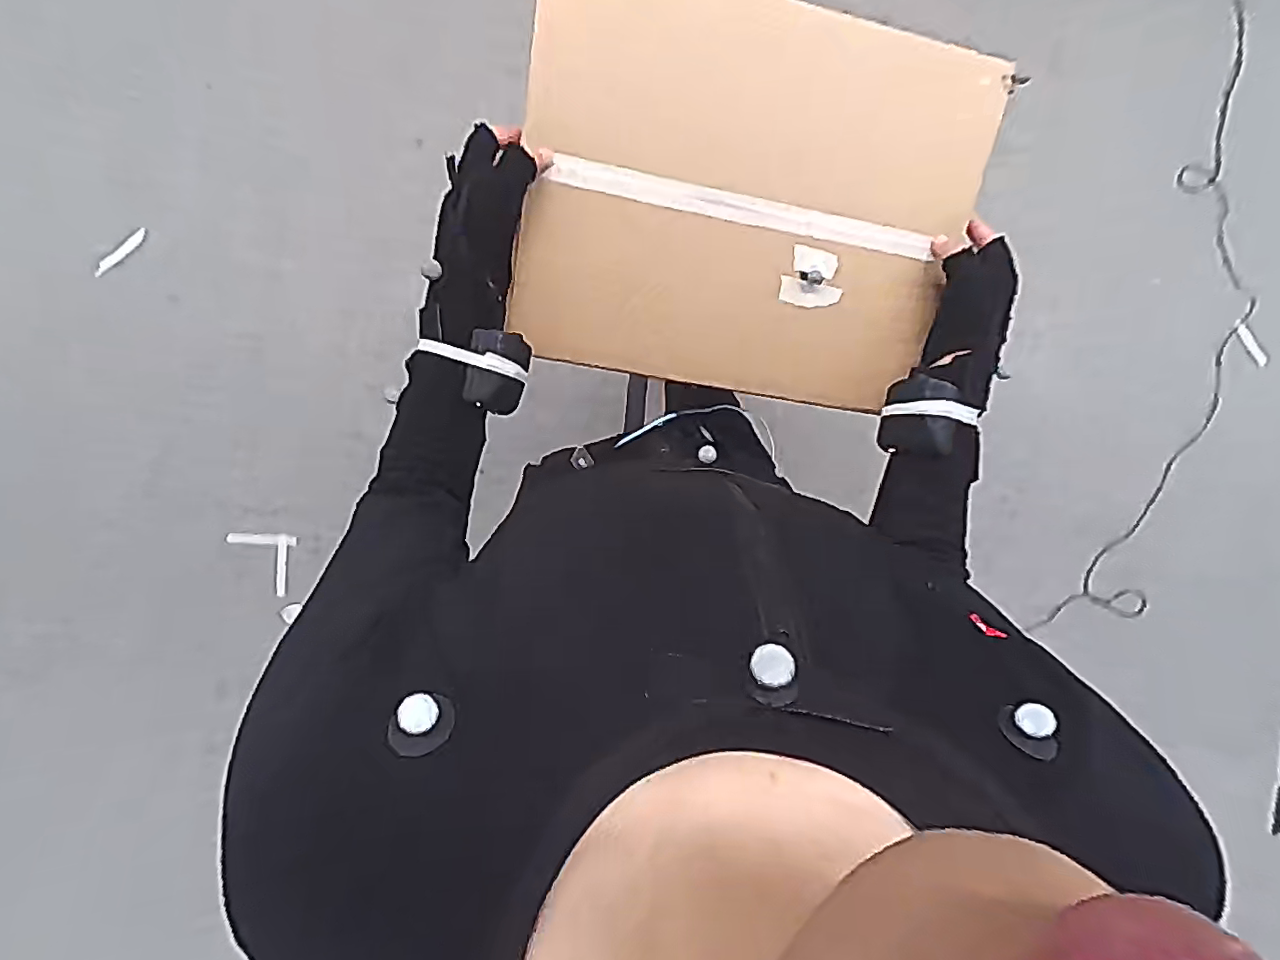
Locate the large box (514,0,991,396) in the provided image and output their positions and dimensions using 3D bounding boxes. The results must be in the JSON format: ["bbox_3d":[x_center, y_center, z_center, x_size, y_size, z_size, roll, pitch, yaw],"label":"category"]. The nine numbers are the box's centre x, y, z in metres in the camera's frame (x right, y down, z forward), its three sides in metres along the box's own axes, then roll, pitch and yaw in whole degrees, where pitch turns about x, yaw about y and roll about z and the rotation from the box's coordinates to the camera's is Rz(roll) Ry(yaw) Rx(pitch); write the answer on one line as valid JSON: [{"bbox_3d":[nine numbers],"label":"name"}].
[{"bbox_3d":[0.079,-0.296,0.632,0.408,0.320,0.320,7,107,-9],"label":"large box"}]
